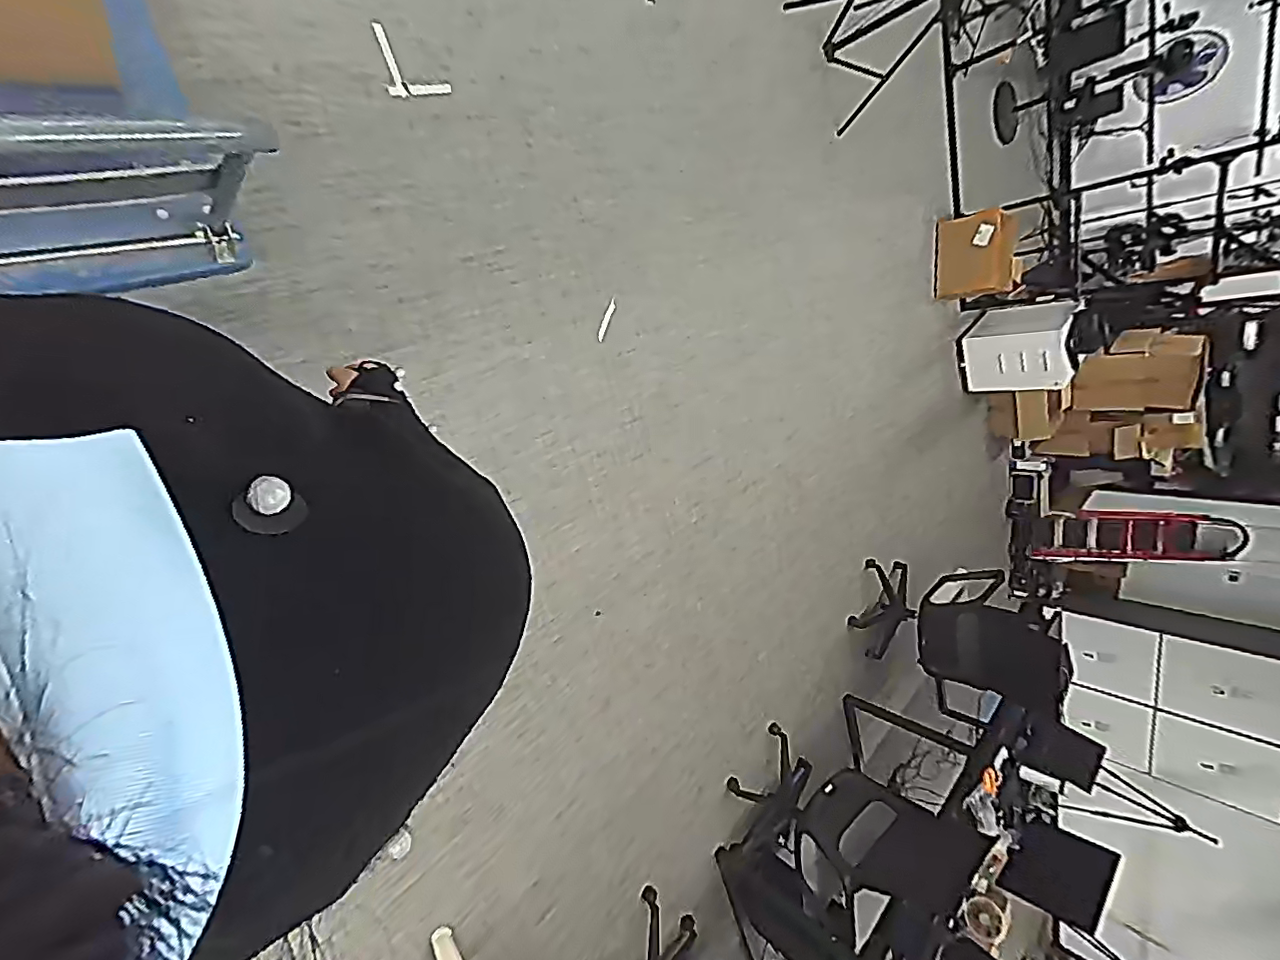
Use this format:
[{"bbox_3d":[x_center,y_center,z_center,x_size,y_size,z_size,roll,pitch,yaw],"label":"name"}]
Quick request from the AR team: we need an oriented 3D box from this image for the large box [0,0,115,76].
[{"bbox_3d":[-0.989,-0.746,0.663,0.408,0.320,0.320,-26,111,-34],"label":"large box"}]
